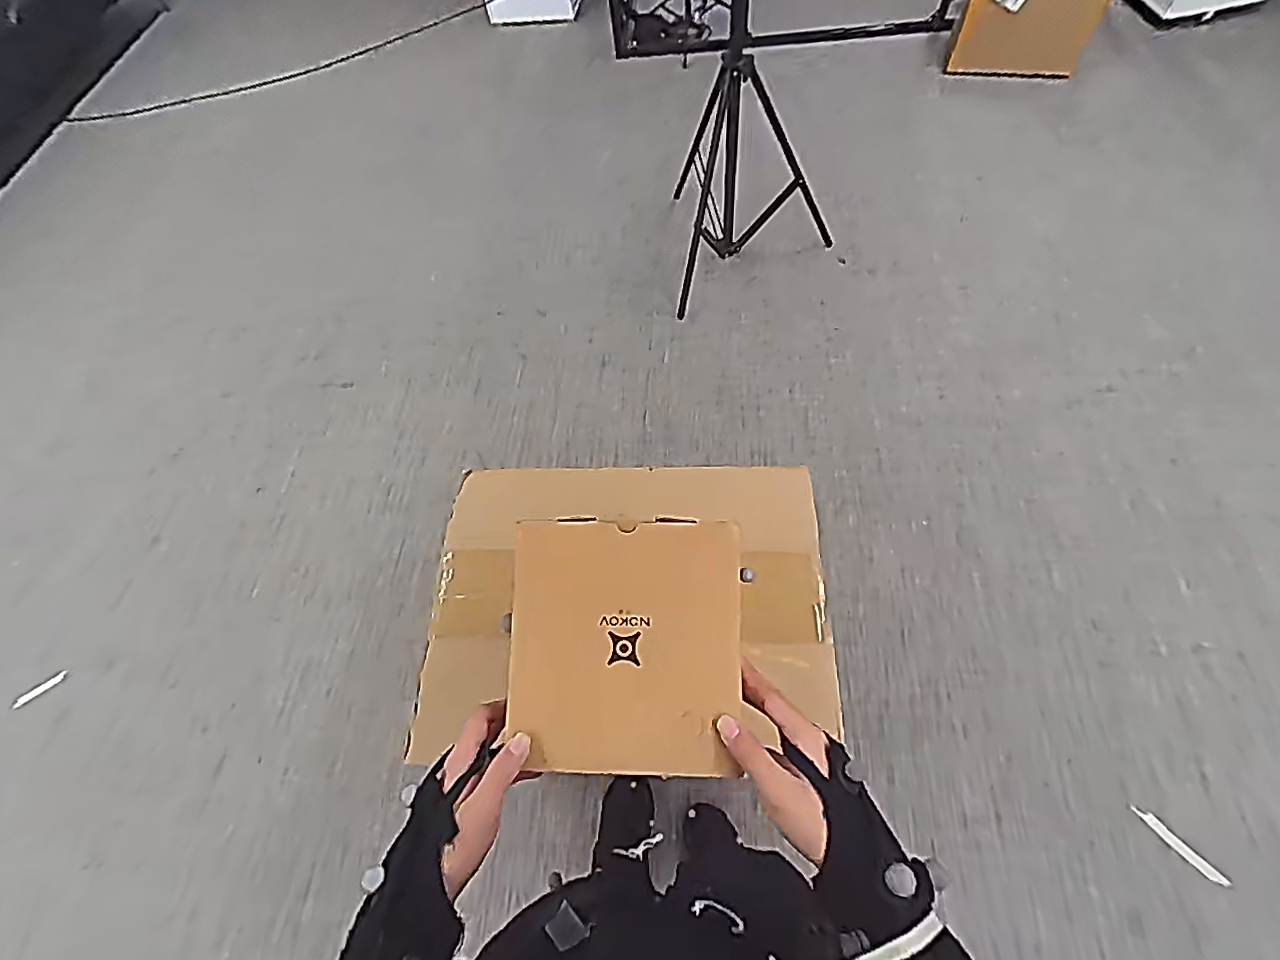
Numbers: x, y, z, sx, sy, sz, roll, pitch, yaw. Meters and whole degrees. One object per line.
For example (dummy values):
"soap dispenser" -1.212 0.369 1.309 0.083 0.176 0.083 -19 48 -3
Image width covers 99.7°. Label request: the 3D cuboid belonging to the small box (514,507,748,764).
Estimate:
"small box" -0.001 0.120 0.462 0.168 0.176 0.179 0 78 3
